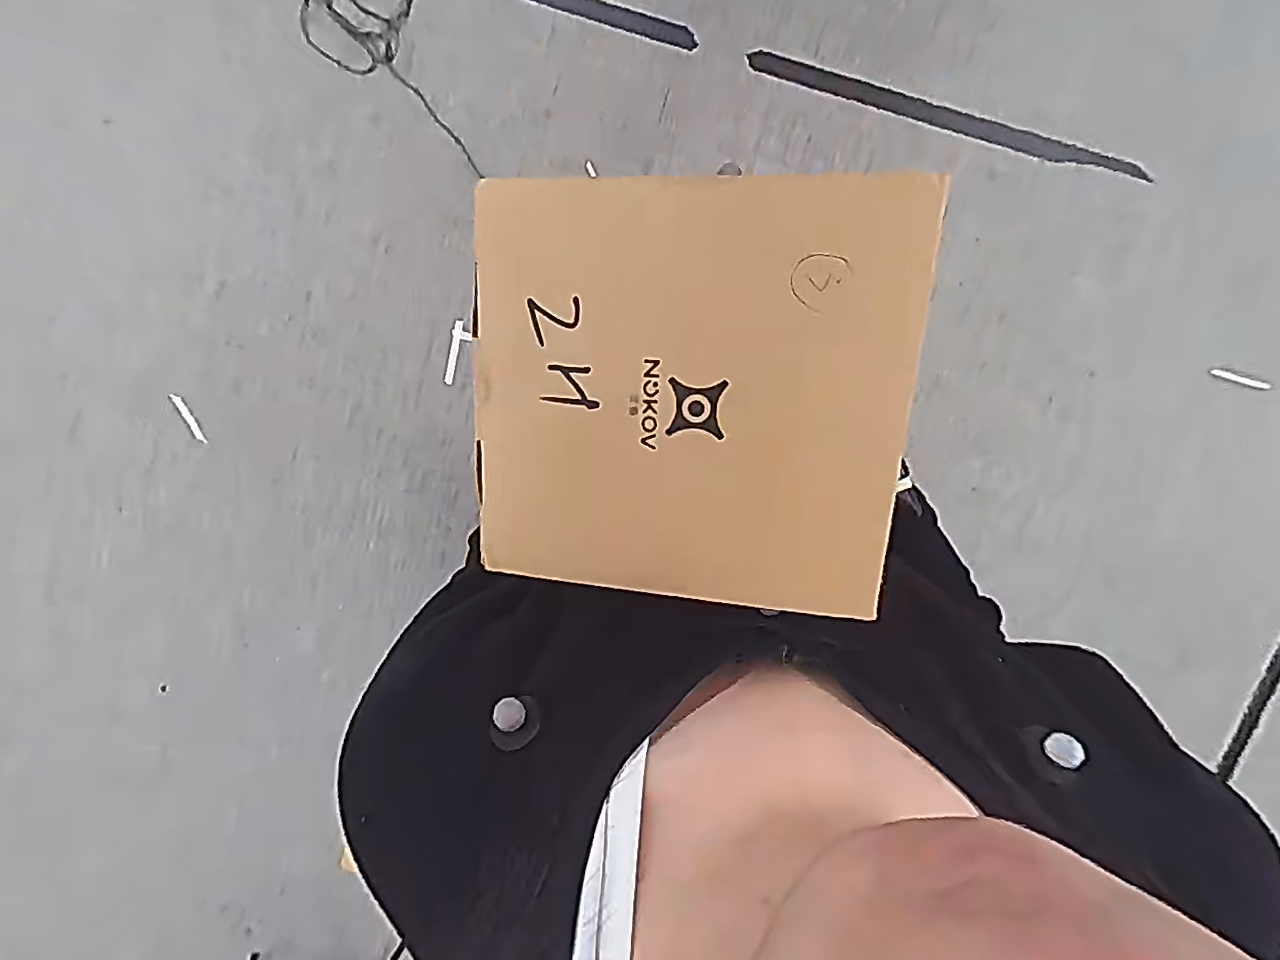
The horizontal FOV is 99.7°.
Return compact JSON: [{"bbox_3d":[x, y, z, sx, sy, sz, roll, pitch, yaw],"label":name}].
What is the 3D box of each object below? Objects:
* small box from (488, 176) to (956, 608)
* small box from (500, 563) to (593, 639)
[{"bbox_3d":[0.036,-0.051,0.295,0.179,0.176,0.168,6,104,11],"label":"small box"},{"bbox_3d":[-0.214,0.285,1.164,0.179,0.176,0.168,24,98,-1],"label":"small box"}]
